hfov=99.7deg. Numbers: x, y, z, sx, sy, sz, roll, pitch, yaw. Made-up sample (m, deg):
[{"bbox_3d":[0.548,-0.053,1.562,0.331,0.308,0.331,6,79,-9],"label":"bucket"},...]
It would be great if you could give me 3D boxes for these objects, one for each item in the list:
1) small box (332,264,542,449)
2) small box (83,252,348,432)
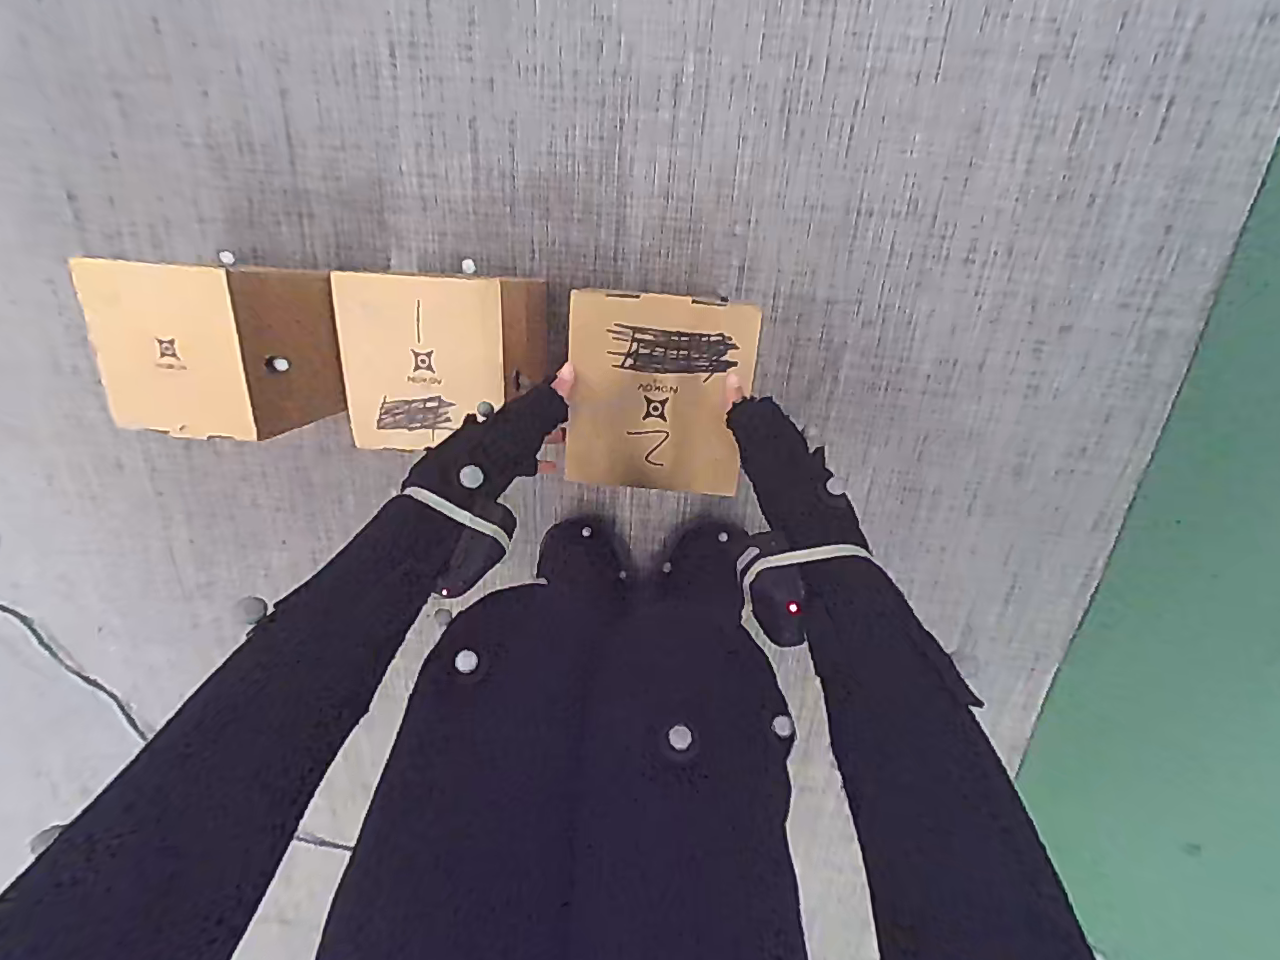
[{"bbox_3d":[-0.212,-0.148,0.618,0.168,0.176,0.179,5,111,4],"label":"small box"},{"bbox_3d":[-0.477,-0.168,0.641,0.168,0.176,0.179,5,111,4],"label":"small box"}]
